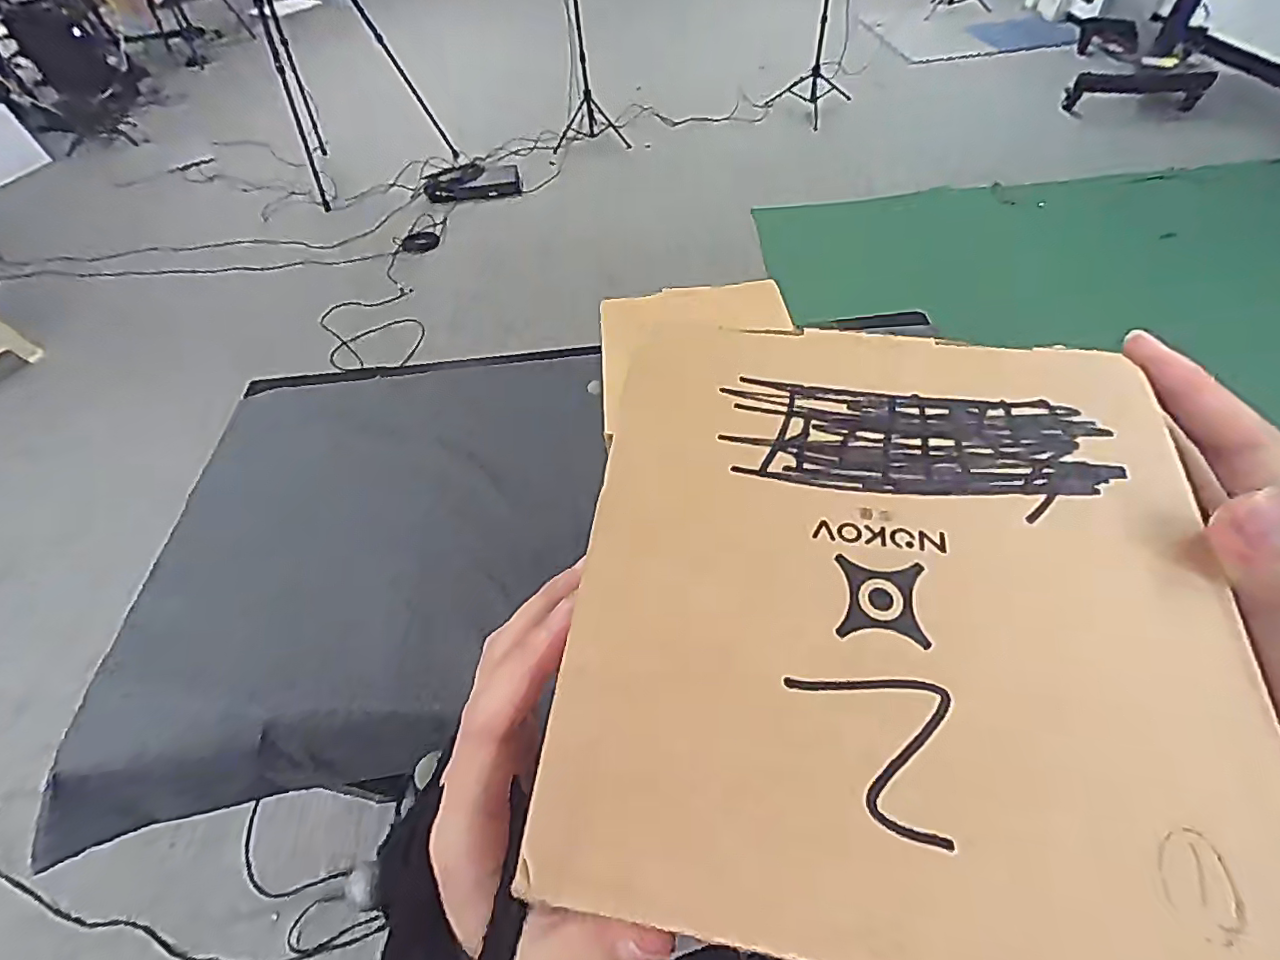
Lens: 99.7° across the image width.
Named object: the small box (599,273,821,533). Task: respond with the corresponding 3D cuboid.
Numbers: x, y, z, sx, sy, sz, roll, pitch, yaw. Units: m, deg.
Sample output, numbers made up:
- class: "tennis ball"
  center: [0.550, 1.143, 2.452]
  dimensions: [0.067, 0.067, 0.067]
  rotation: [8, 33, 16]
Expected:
- class: "small box"
  center: [0.056, -0.063, 0.507]
  dimensions: [0.168, 0.176, 0.179]
  rotation: [-6, 52, 2]
